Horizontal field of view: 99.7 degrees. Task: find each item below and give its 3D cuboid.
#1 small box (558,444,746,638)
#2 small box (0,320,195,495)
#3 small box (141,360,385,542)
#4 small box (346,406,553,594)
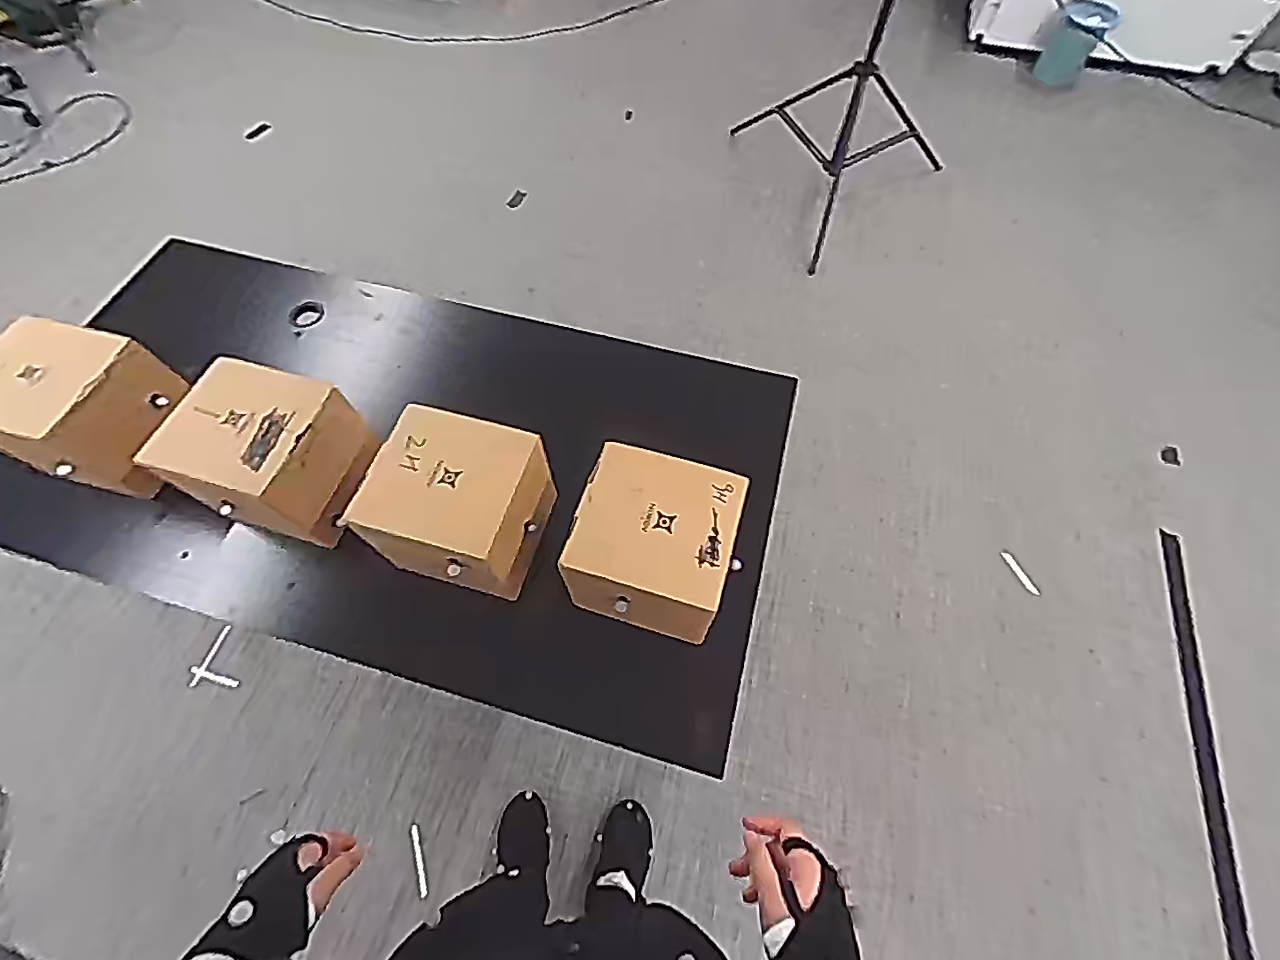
[{"bbox_3d":[0.019,0.083,0.673,0.179,0.176,0.168,15,63,9],"label":"small box"},{"bbox_3d":[-0.771,-0.094,0.766,0.179,0.176,0.168,12,62,6],"label":"small box"},{"bbox_3d":[-0.484,-0.031,0.732,0.179,0.176,0.168,15,63,9],"label":"small box"},{"bbox_3d":[-0.224,0.034,0.698,0.179,0.176,0.168,14,63,7],"label":"small box"}]
